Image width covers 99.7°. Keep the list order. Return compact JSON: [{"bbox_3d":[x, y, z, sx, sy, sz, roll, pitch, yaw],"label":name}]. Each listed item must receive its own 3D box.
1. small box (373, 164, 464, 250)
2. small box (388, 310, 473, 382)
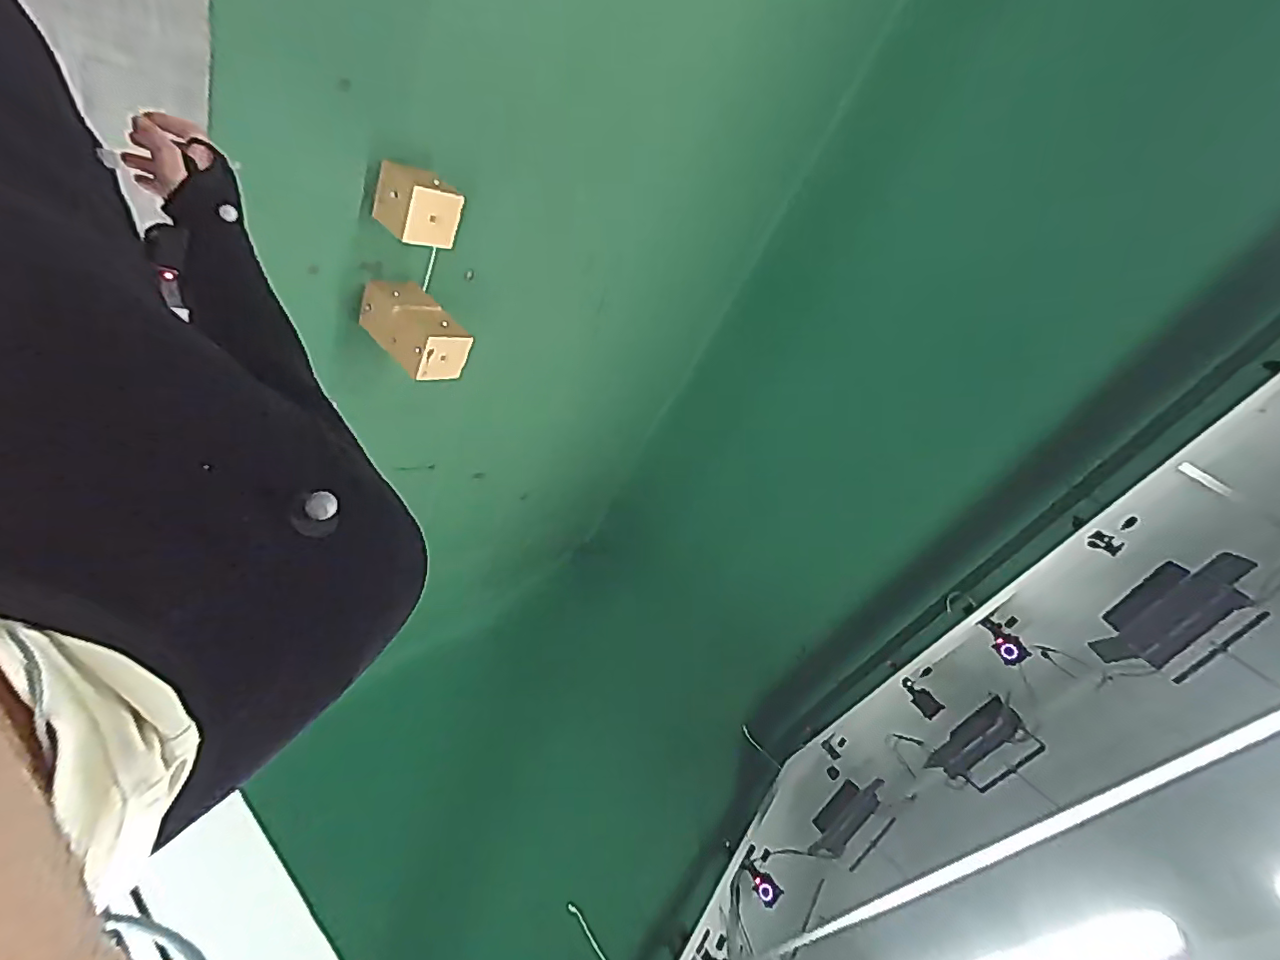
[{"bbox_3d":[-0.669,-0.818,1.621,0.179,0.176,0.168,-23,150,-53],"label":"small box"},{"bbox_3d":[-0.696,-0.445,1.792,0.179,0.176,0.168,-20,148,-55],"label":"small box"}]
